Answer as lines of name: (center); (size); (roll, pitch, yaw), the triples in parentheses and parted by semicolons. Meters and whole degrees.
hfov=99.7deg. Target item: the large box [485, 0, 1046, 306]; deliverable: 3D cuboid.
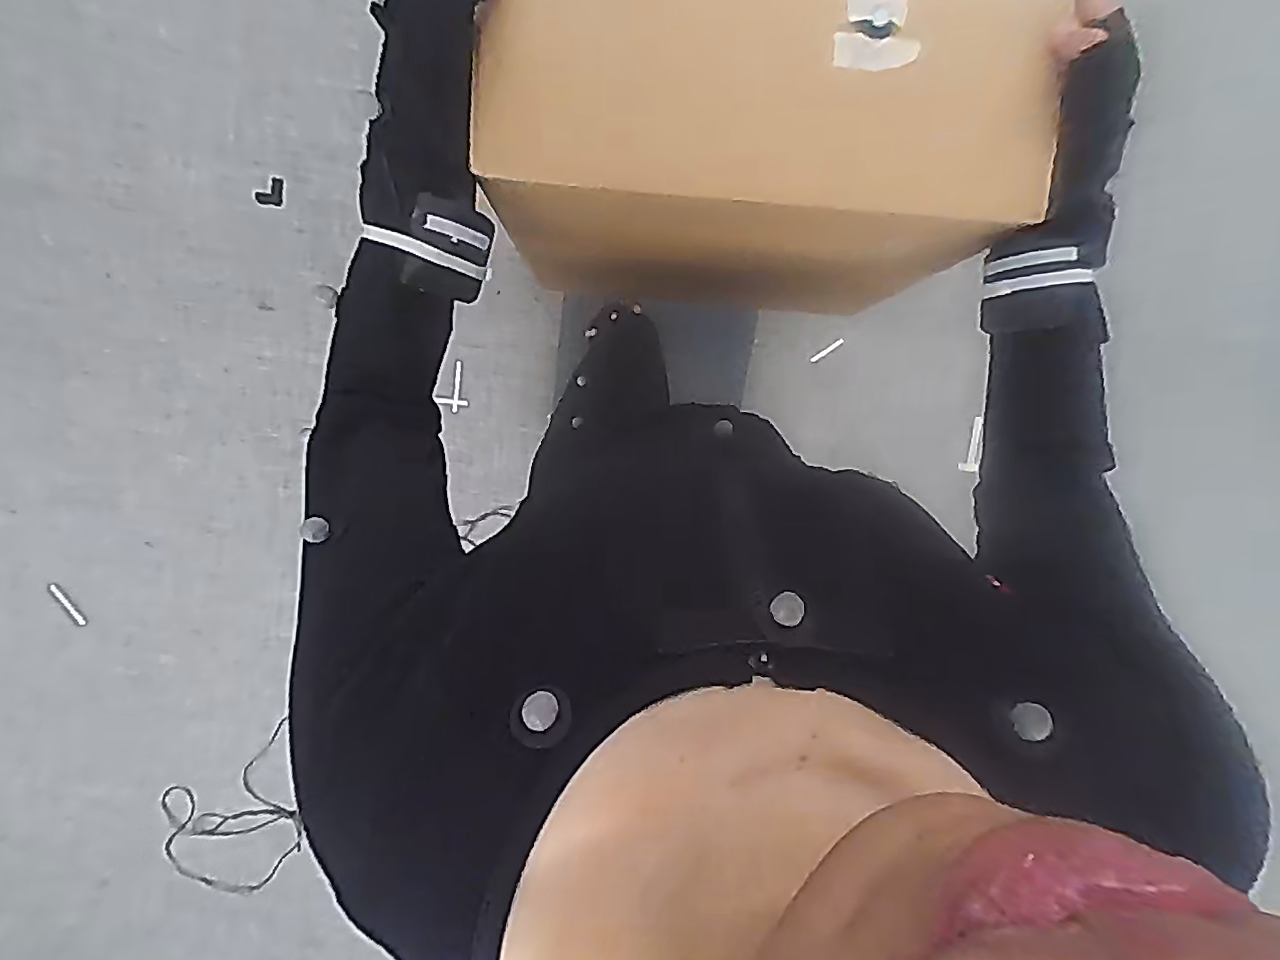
large box: (0.086, -0.371, 0.529); (0.408, 0.320, 0.320); (4, 95, -3)
